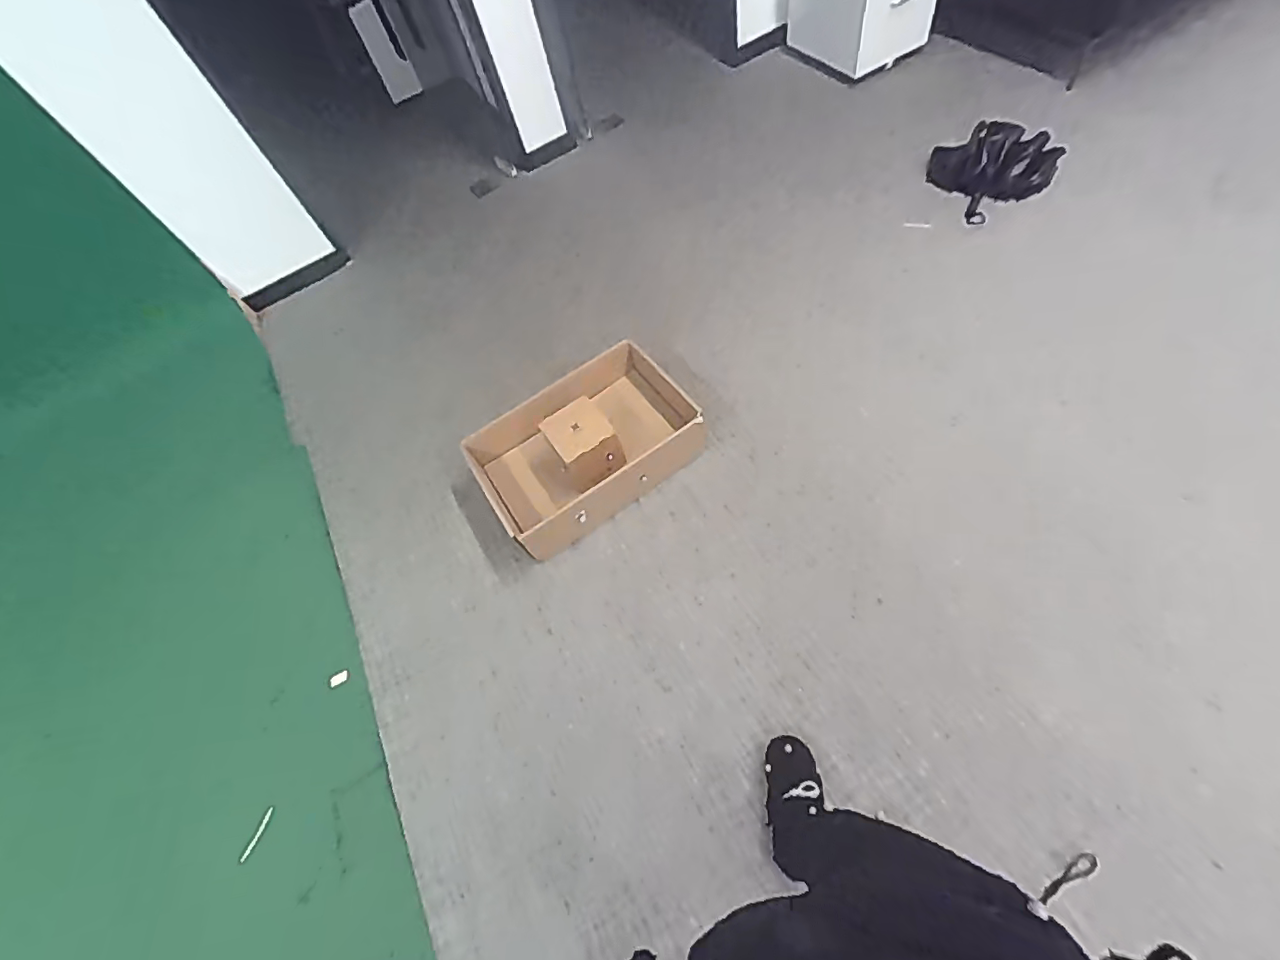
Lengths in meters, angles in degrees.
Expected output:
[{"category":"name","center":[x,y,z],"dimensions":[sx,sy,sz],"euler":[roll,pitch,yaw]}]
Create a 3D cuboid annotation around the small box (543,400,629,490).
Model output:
[{"category":"small box","center":[-0.152,-0.093,1.587],"dimensions":[0.168,0.176,0.179],"euler":[-34,57,-10]}]
